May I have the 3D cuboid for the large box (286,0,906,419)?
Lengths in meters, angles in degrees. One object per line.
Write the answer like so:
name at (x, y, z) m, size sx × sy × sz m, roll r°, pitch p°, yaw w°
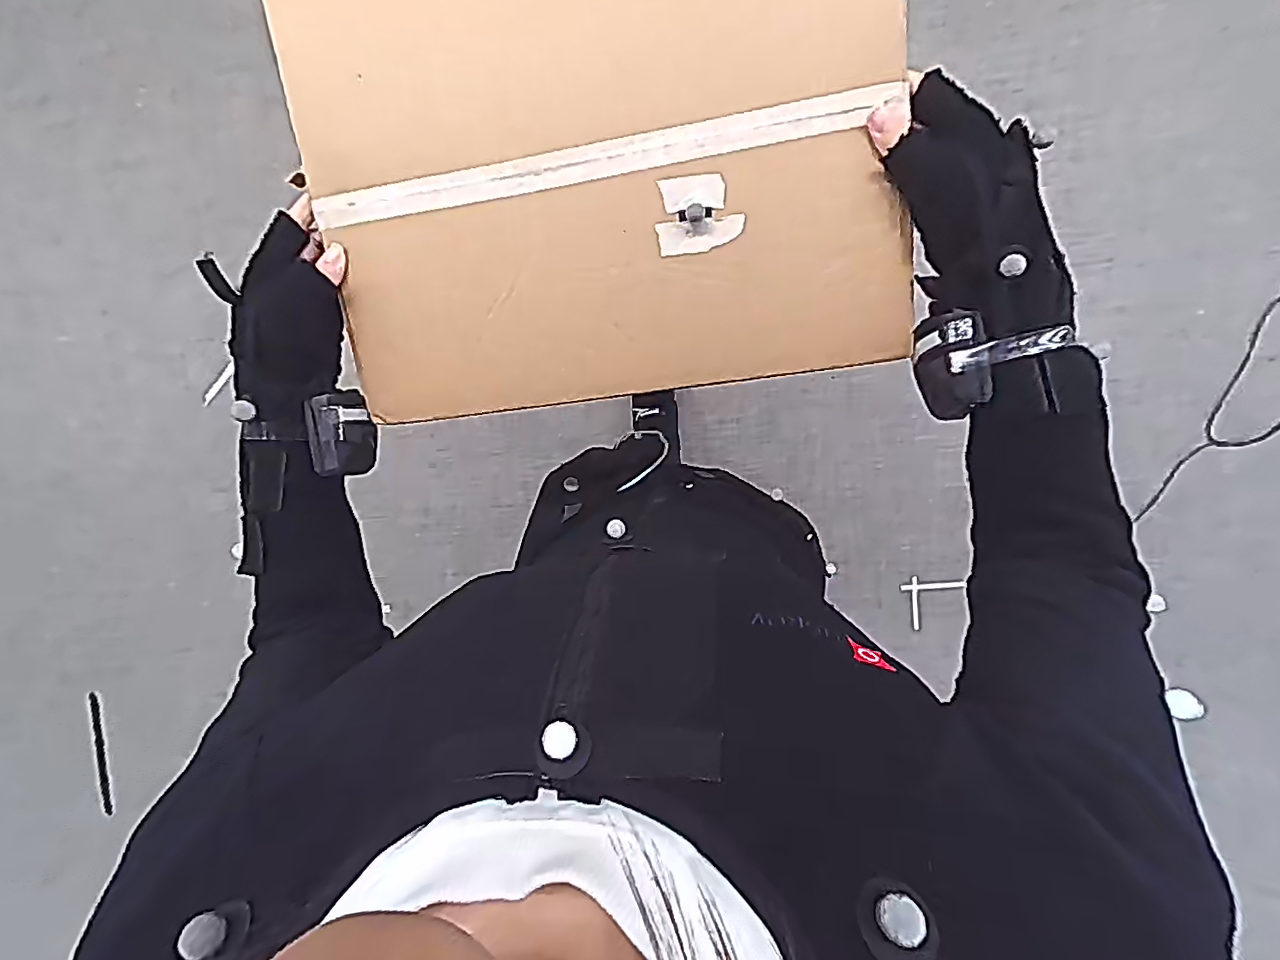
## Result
large box at (-0.015, -0.256, 0.521) m, size 0.408 × 0.320 × 0.320 m, roll -7°, pitch 104°, yaw 7°
